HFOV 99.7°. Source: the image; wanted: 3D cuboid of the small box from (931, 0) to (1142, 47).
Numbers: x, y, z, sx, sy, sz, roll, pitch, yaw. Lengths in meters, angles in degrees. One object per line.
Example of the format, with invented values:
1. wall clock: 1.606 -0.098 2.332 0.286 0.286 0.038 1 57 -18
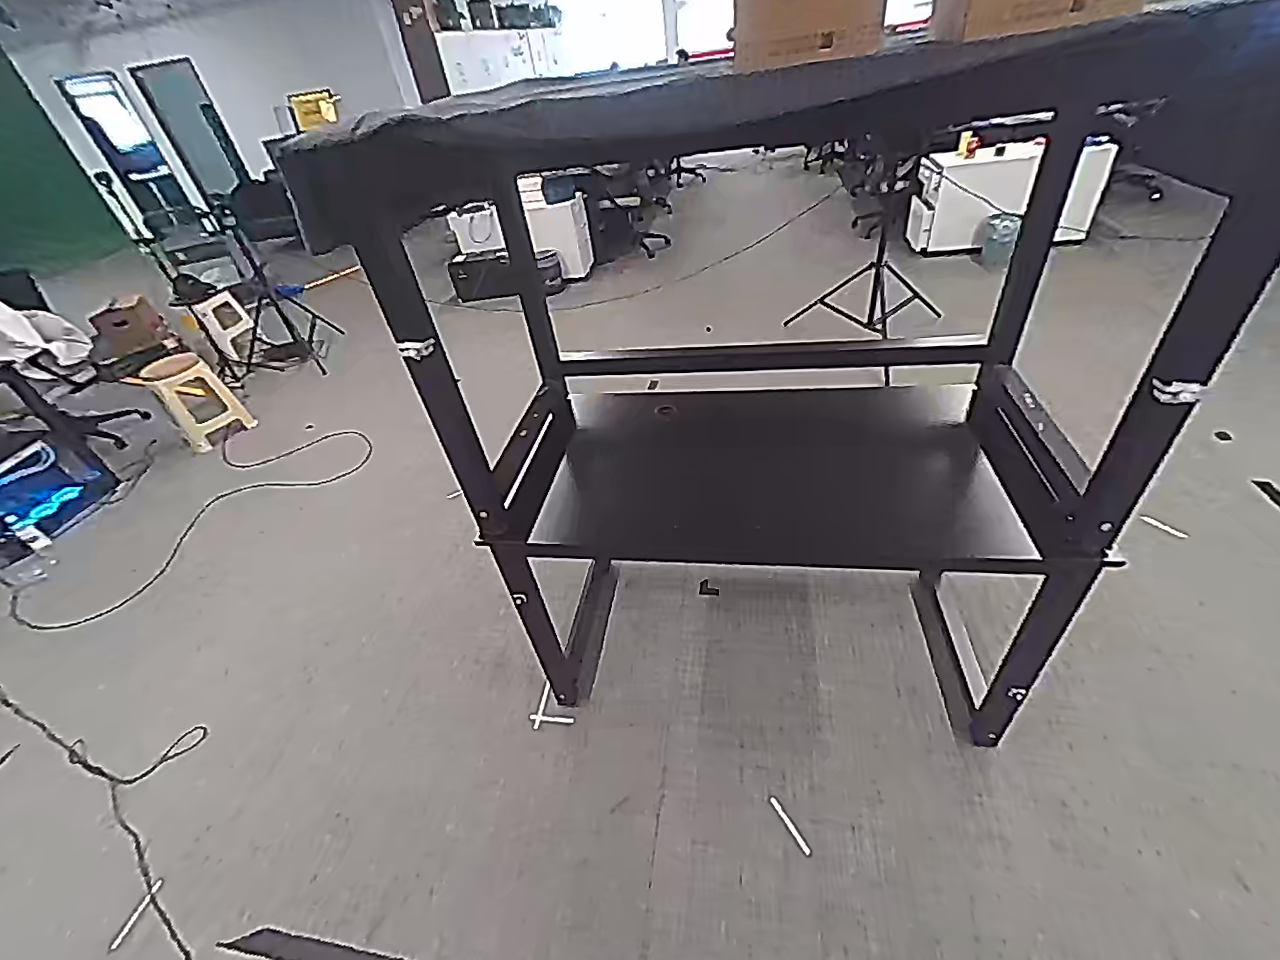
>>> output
1. small box: 0.429 -0.580 0.577 0.168 0.176 0.179 0 39 14

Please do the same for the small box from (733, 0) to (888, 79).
1. small box: 0.198 -0.584 0.632 0.168 0.176 0.179 3 40 14
